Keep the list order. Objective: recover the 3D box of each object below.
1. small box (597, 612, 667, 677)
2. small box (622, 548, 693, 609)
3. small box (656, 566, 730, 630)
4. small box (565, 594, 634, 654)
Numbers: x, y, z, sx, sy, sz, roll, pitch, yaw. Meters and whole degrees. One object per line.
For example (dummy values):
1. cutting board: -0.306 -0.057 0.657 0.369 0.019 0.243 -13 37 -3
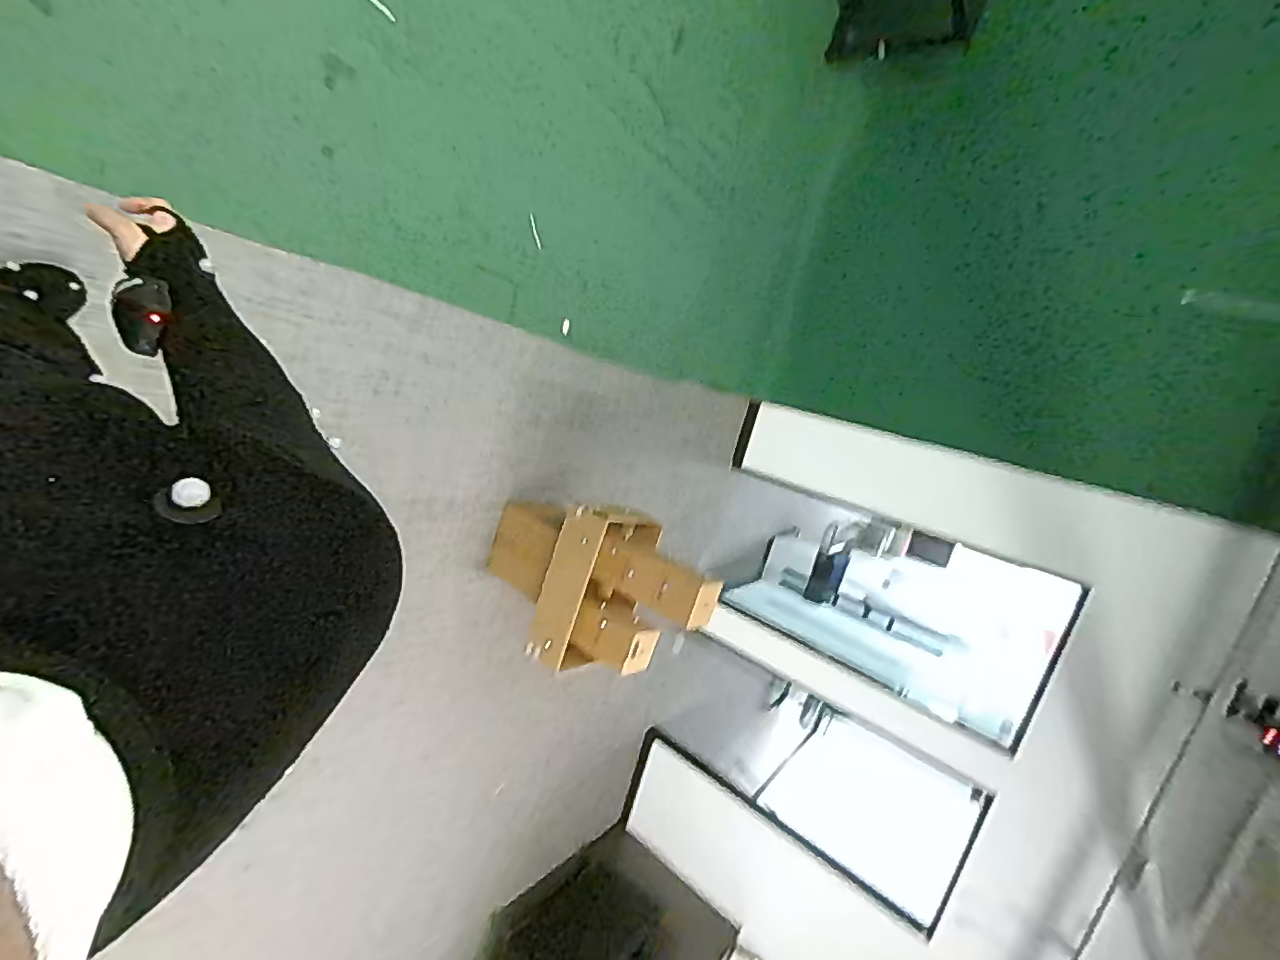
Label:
1. small box: -0.032 0.607 2.017 0.179 0.176 0.168 14 97 -56
2. small box: 0.064 0.359 2.007 0.179 0.176 0.168 10 100 -55
3. small box: 0.188 0.412 1.916 0.179 0.176 0.168 12 98 -55
4. small box: -0.158 0.555 2.110 0.179 0.176 0.168 13 98 -54
